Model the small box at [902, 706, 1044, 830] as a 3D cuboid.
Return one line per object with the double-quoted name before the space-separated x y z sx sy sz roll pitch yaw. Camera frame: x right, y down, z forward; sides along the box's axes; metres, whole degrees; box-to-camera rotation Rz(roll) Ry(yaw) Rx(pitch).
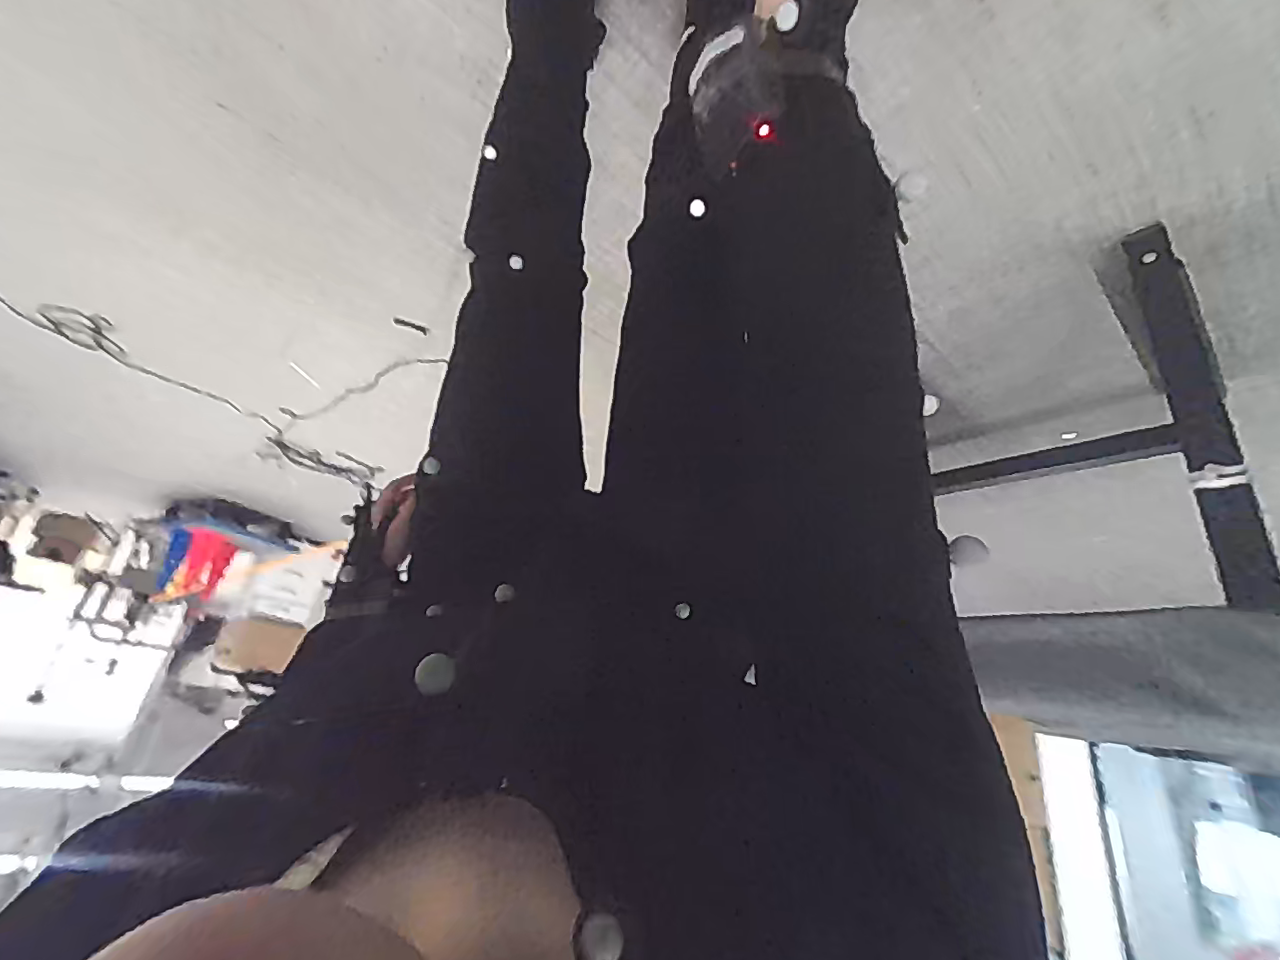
"small box" 0.581 0.501 0.955 0.179 0.176 0.168 25 152 -37
